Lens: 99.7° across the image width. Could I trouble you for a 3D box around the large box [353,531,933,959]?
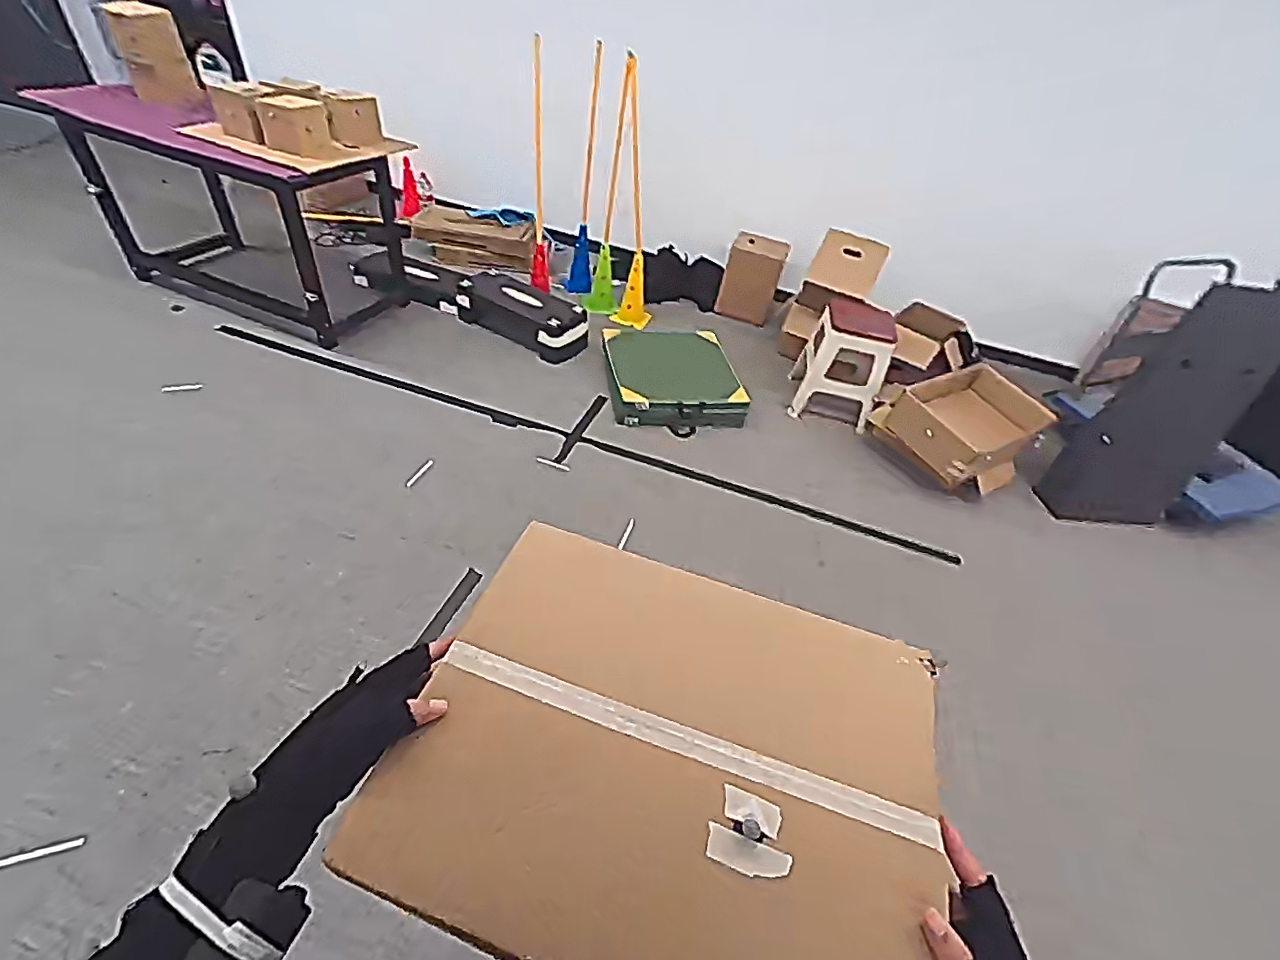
[{"bbox_3d":[0.017,0.311,0.549,0.408,0.320,0.320,18,48,9],"label":"large box"}]
